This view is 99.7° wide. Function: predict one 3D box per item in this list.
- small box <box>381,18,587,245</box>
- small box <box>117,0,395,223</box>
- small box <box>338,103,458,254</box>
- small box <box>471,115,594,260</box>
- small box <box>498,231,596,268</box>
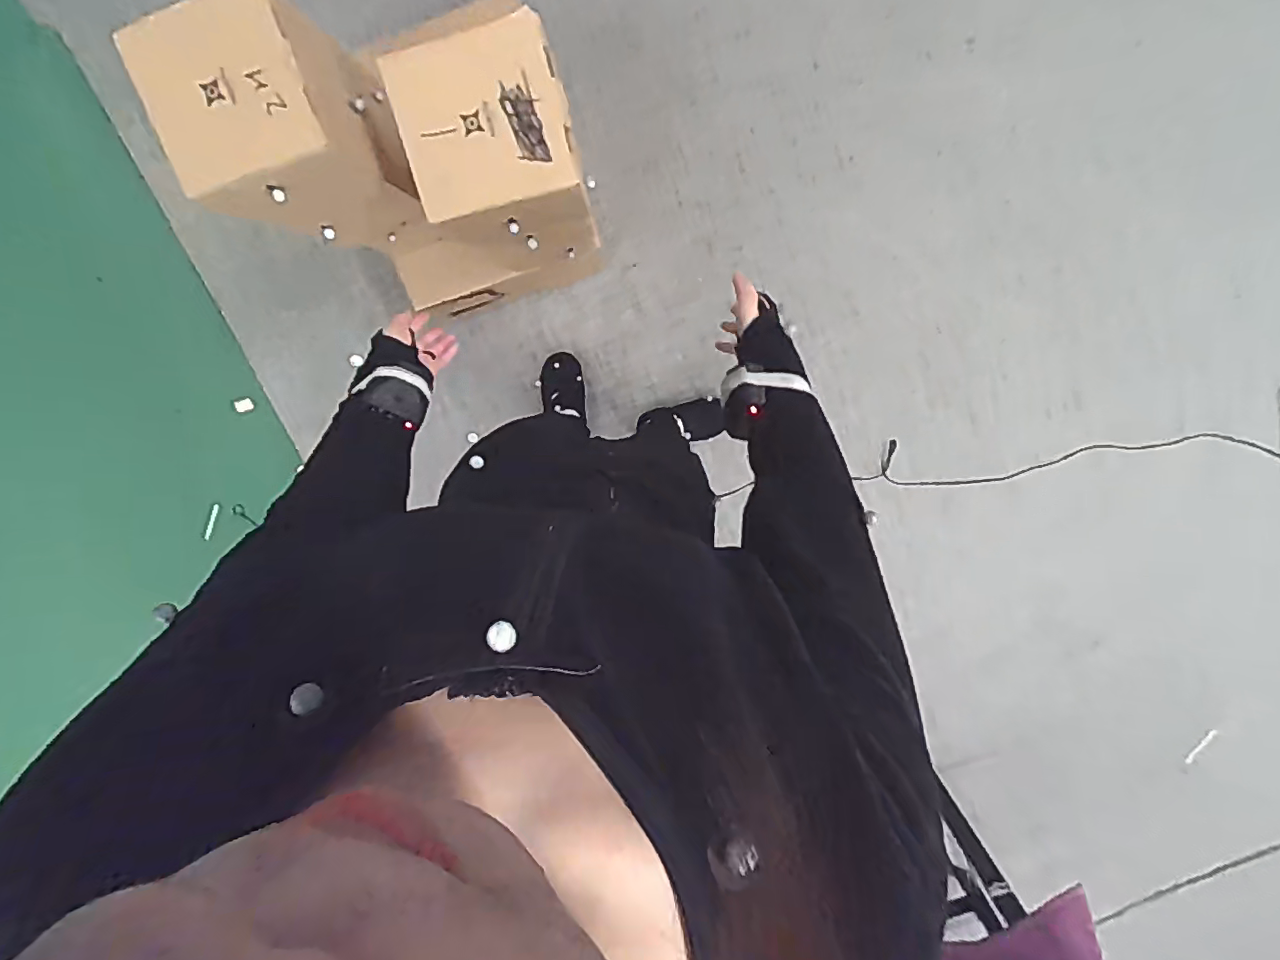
[{"bbox_3d":[-0.166,-0.396,0.648,0.179,0.176,0.168,-12,104,4],"label":"small box"},{"bbox_3d":[-0.432,-0.426,0.642,0.179,0.176,0.168,-15,104,6],"label":"small box"},{"bbox_3d":[-0.426,-0.523,0.958,0.168,0.176,0.179,-13,103,6],"label":"small box"},{"bbox_3d":[-0.170,-0.441,0.806,0.179,0.176,0.168,-13,104,3],"label":"small box"},{"bbox_3d":[-0.181,-0.487,0.962,0.168,0.176,0.179,-14,103,3],"label":"small box"}]
